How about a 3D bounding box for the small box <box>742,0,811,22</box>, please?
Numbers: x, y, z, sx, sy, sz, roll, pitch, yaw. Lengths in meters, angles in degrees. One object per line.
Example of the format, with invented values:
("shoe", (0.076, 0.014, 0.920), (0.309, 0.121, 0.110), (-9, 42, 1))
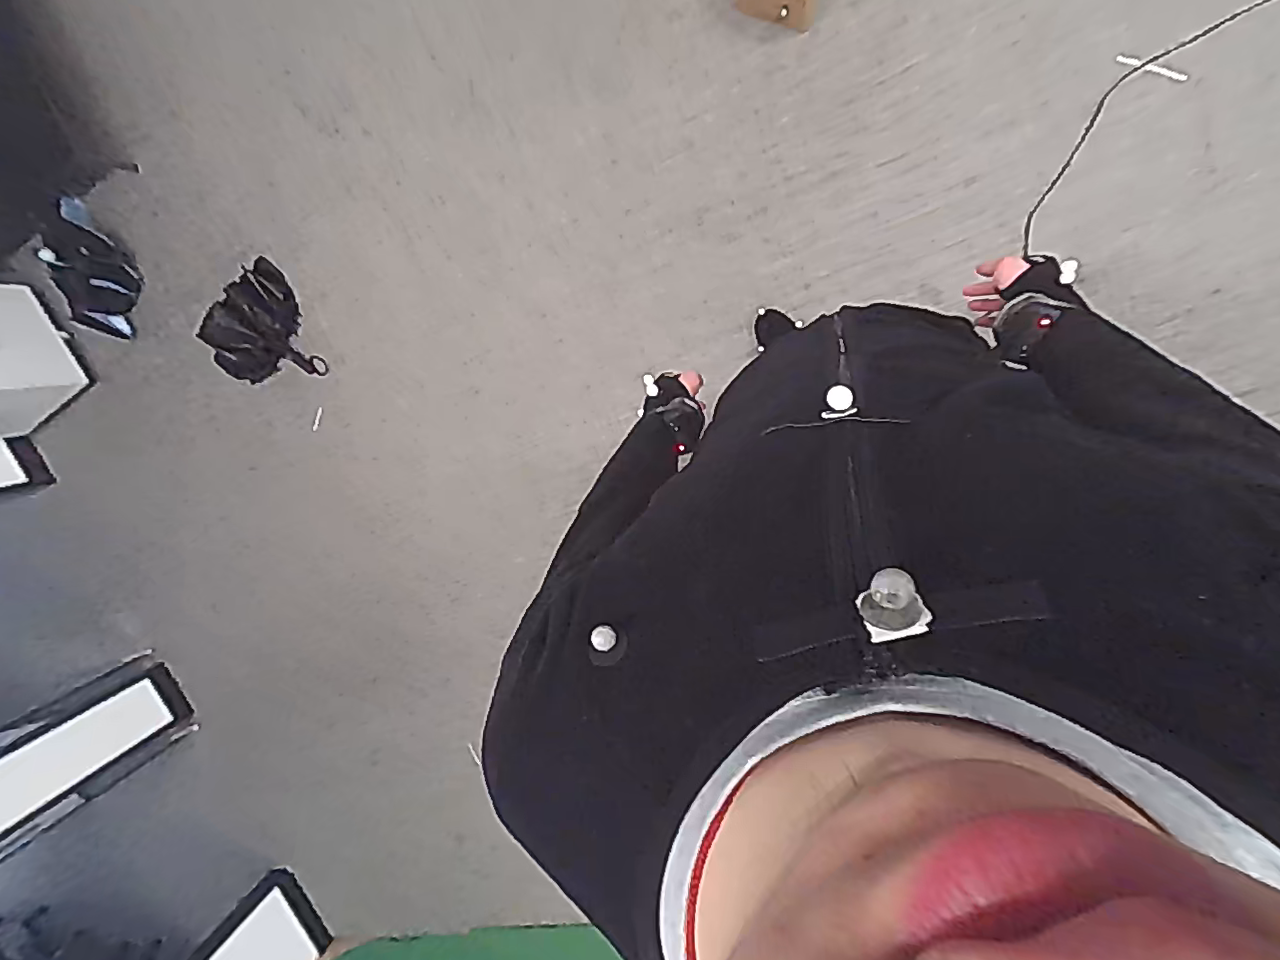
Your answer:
("small box", (0.305, -1.124, 1.142), (0.168, 0.176, 0.179), (23, 111, 7))
